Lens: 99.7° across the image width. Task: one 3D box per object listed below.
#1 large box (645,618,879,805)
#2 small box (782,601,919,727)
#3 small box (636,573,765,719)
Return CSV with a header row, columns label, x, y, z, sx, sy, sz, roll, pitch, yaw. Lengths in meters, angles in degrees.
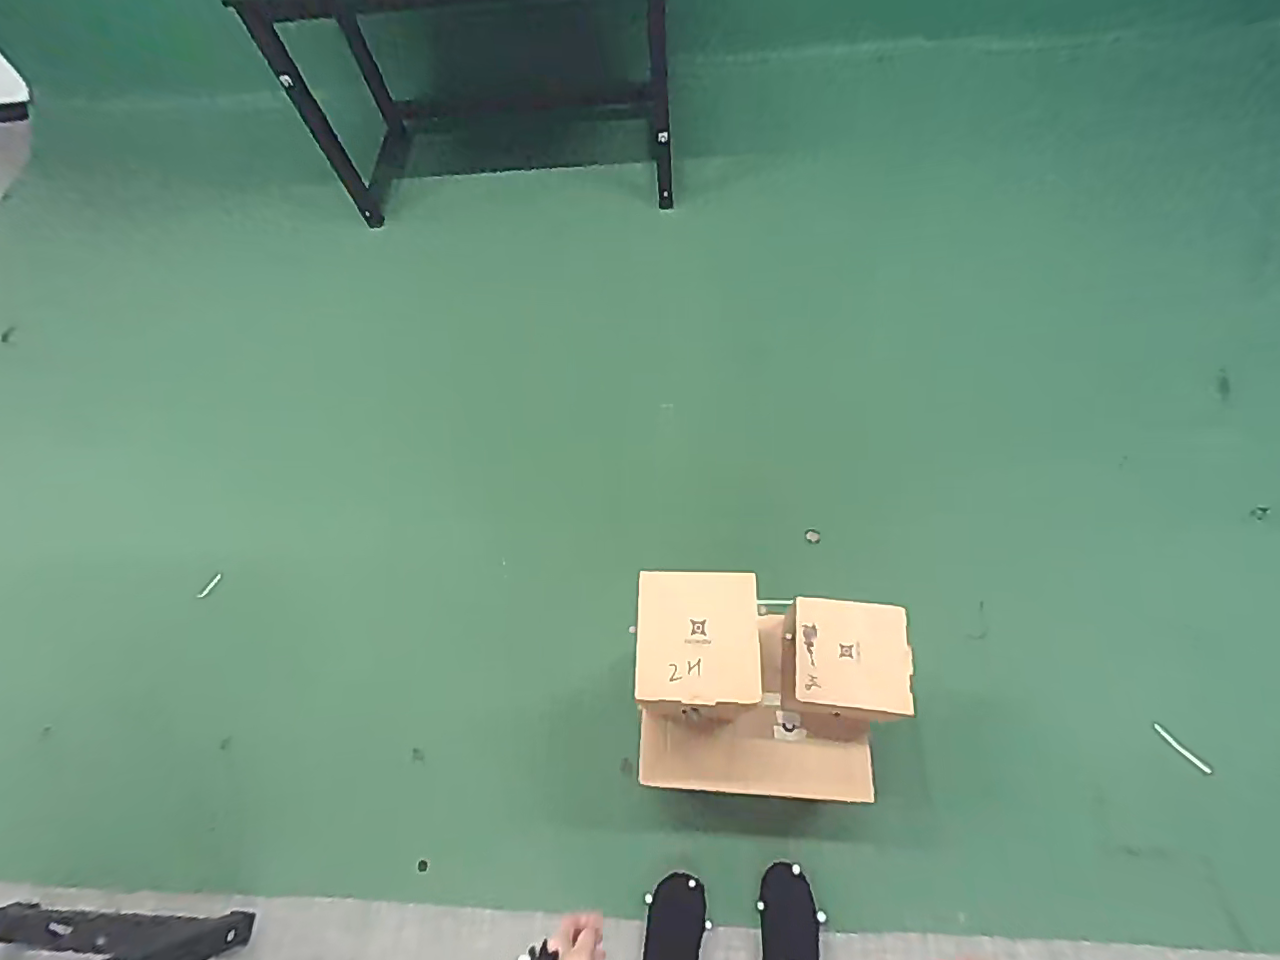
label,x,y,z,sx,sy,sz,roll,pitch,yaw
large box,0.221,0.474,1.118,0.408,0.320,0.320,1,64,5
small box,0.344,0.314,0.910,0.179,0.176,0.168,5,63,9
small box,0.085,0.246,0.789,0.168,0.176,0.179,0,63,6
